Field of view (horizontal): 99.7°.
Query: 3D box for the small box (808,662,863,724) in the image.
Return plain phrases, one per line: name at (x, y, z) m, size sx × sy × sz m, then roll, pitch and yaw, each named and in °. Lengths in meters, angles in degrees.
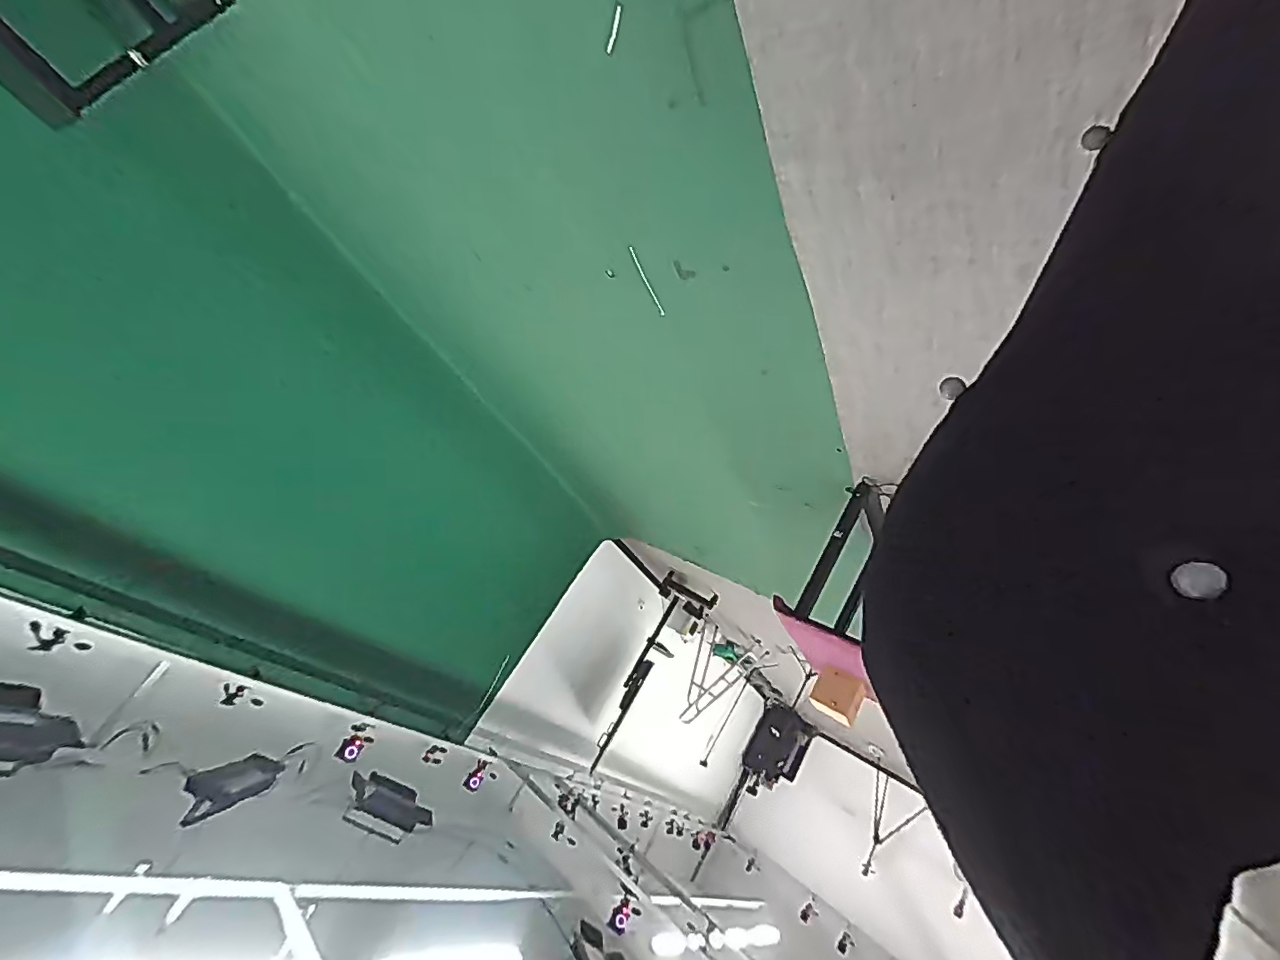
small box at (0.846, 0.912, 2.324) m, size 0.168 × 0.176 × 0.179 m, roll 18°, pitch 156°, yaw 38°
